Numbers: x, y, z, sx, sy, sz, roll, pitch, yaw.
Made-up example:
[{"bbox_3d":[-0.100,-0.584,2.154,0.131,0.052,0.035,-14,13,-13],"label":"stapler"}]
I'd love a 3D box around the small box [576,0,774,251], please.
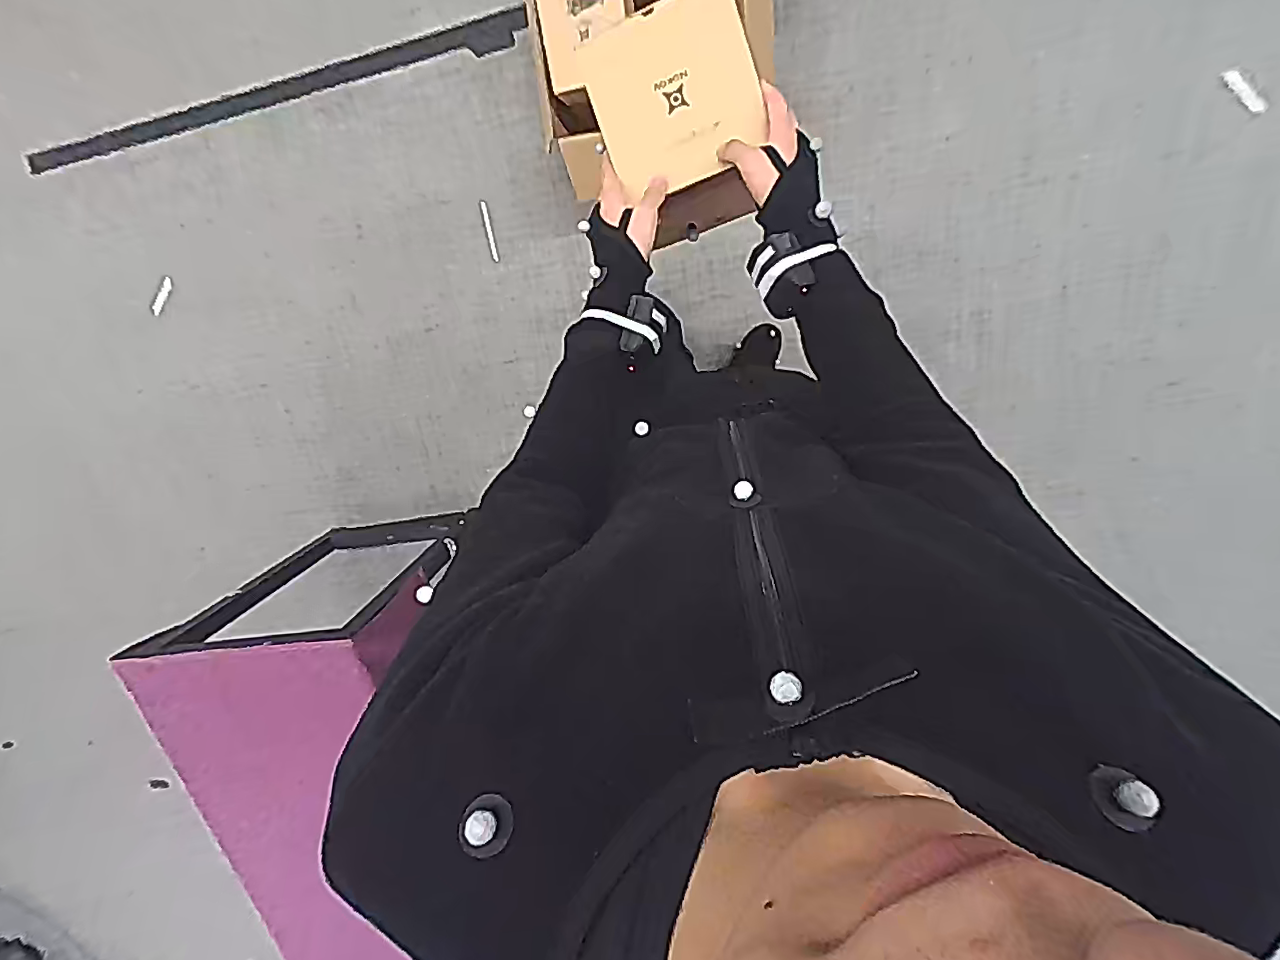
[{"bbox_3d":[0.044,-0.402,0.633,0.168,0.176,0.179,-18,94,10],"label":"small box"}]
